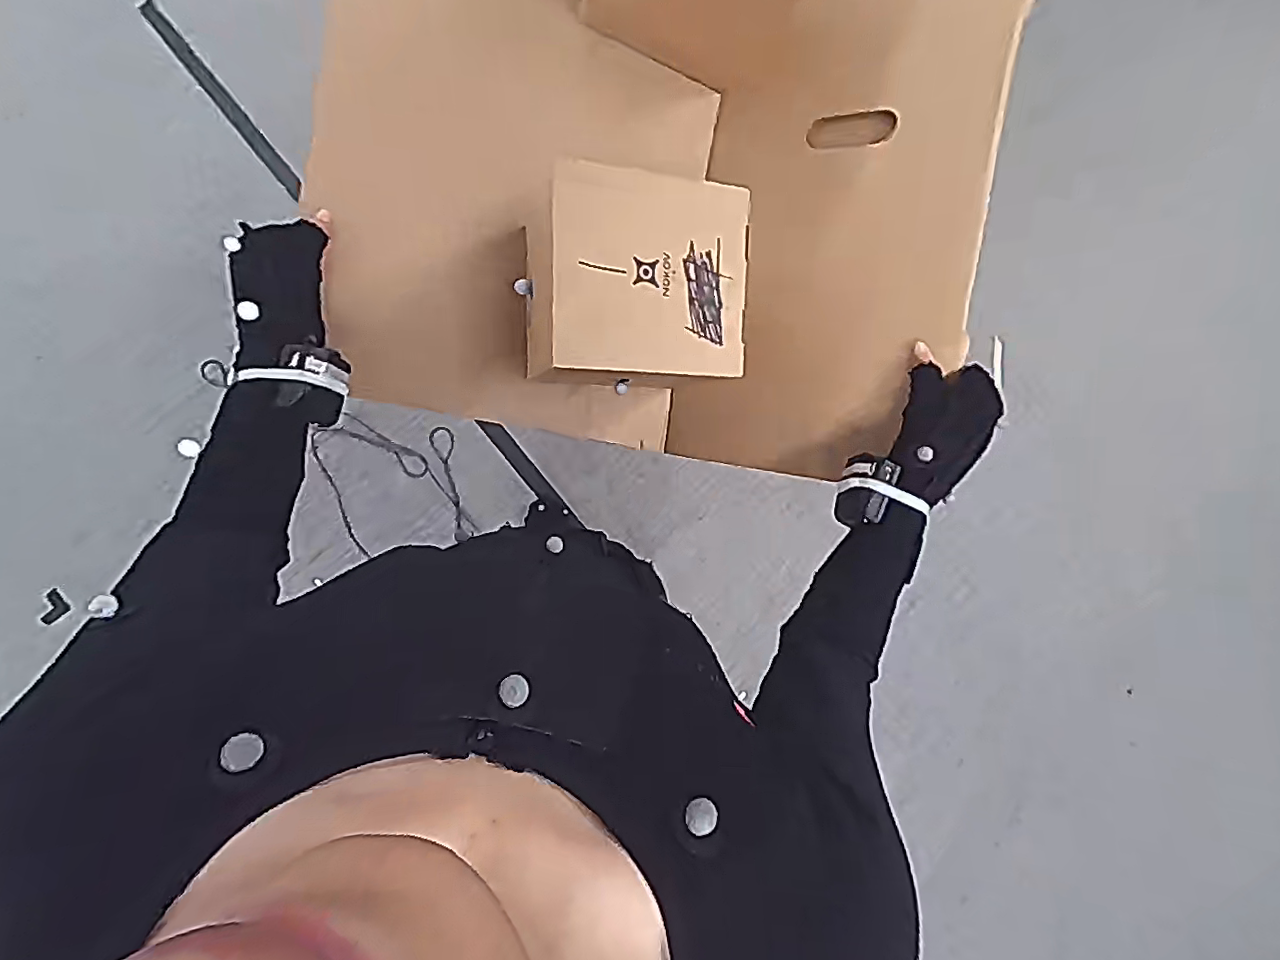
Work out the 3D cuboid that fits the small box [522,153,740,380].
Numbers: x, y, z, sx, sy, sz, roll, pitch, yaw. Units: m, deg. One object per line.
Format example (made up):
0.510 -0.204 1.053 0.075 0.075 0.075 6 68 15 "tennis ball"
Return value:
-0.019 -0.191 0.540 0.179 0.176 0.168 -2 96 -18 "small box"
